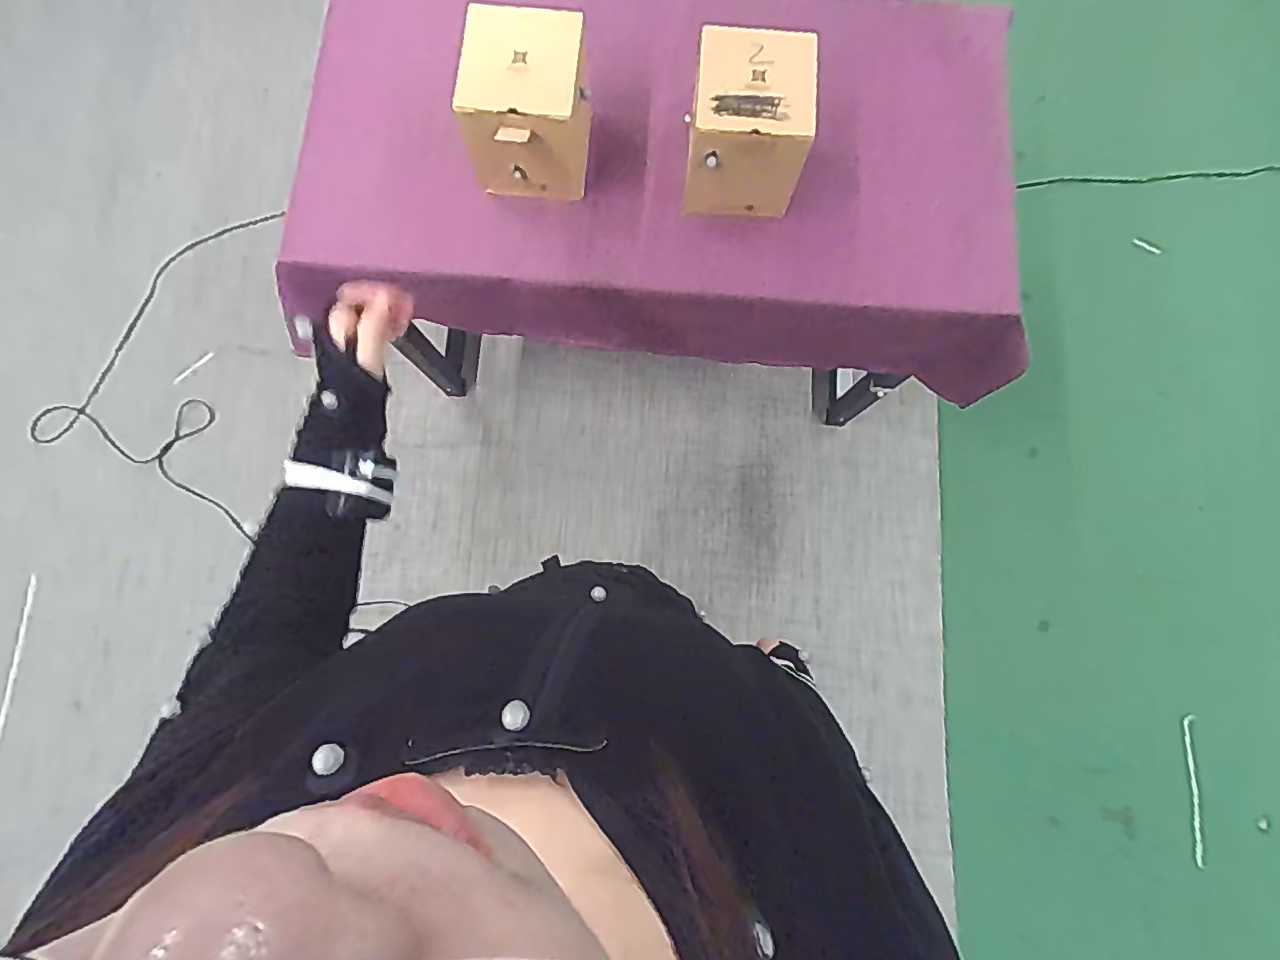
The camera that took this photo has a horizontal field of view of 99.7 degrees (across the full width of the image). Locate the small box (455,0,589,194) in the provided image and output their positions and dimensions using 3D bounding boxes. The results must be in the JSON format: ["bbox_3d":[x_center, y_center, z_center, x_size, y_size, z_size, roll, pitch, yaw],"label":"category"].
[{"bbox_3d":[-0.171,-0.586,0.844,0.168,0.176,0.179,5,81,0],"label":"small box"}]
